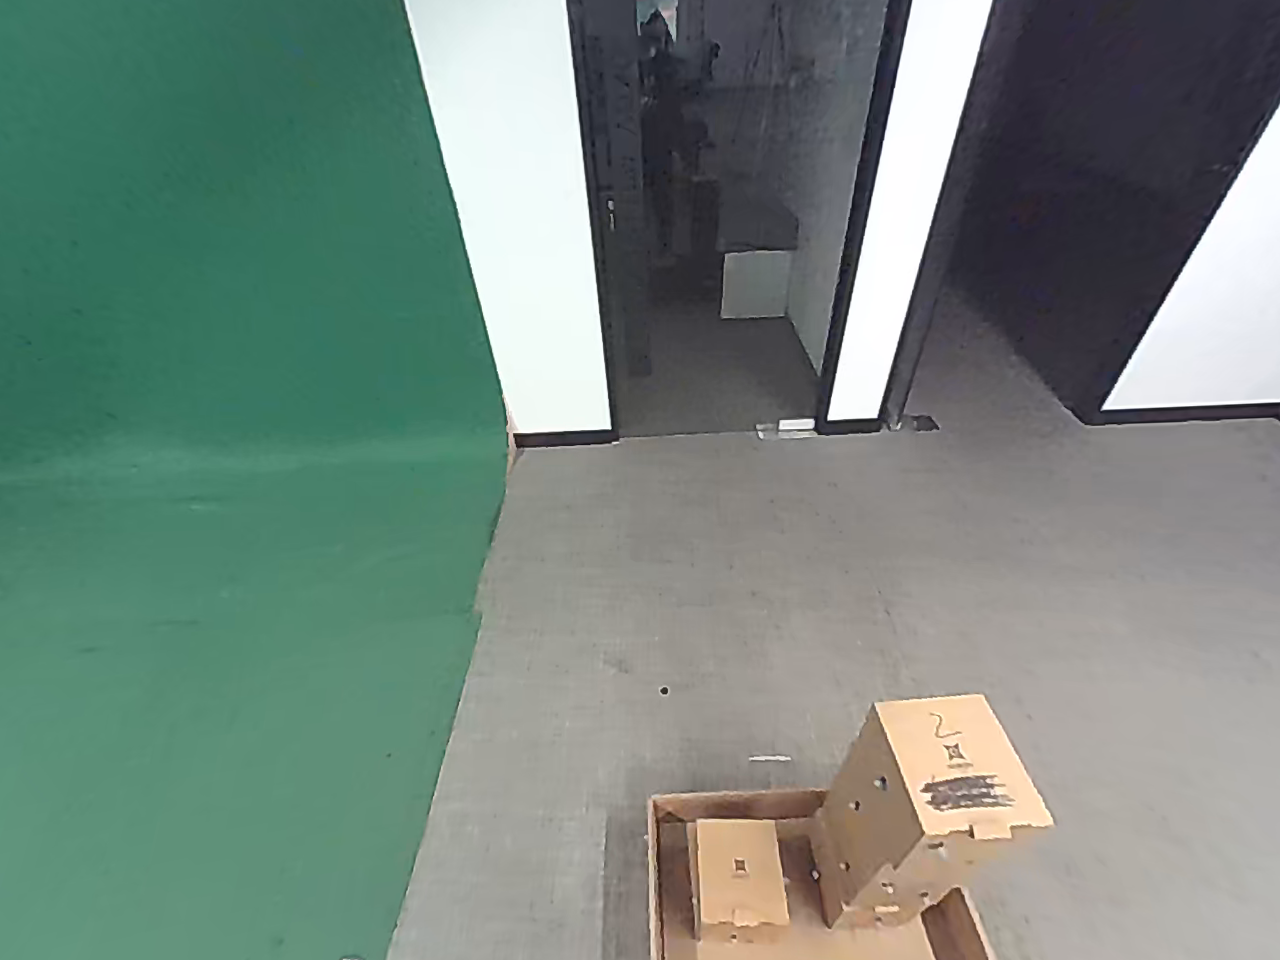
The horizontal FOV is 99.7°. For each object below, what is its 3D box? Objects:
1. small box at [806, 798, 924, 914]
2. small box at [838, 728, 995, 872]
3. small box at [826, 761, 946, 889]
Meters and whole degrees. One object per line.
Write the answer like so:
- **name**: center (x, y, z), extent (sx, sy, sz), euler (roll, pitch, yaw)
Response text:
- **small box**: center (0.461, 0.786, 1.137), extent (0.168, 0.176, 0.179), euler (-7, 41, -1)
- **small box**: center (0.451, 0.544, 0.915), extent (0.168, 0.176, 0.179), euler (-3, 41, 2)
- **small box**: center (0.463, 0.649, 1.017), extent (0.168, 0.176, 0.179), euler (-4, 41, 2)
